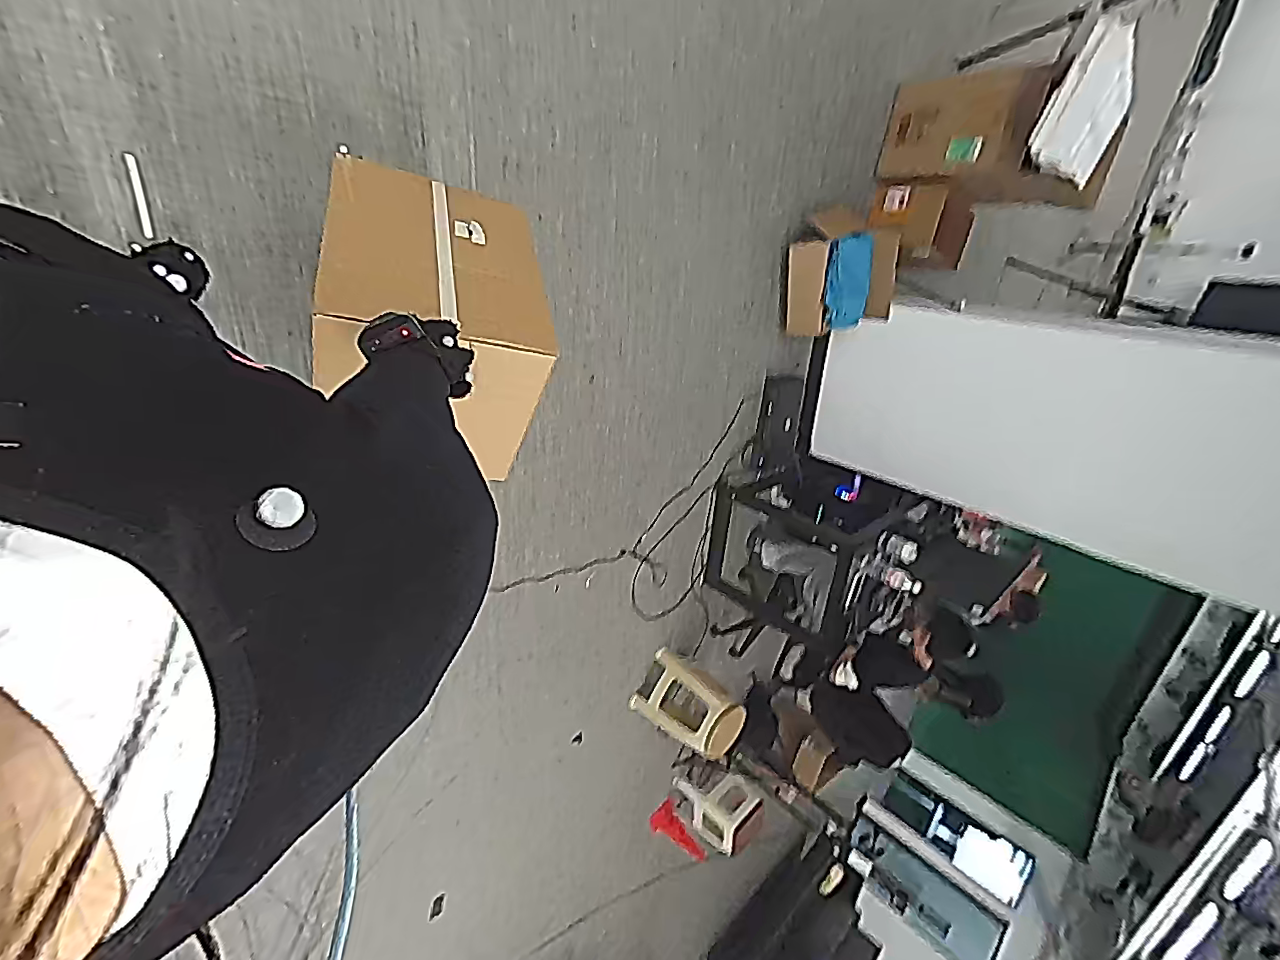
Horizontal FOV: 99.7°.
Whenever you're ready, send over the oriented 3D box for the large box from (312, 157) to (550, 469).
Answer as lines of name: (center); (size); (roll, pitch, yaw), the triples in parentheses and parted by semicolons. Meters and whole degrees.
large box: (-0.381, -0.266, 0.938); (0.320, 0.408, 0.320); (3, 142, -30)
